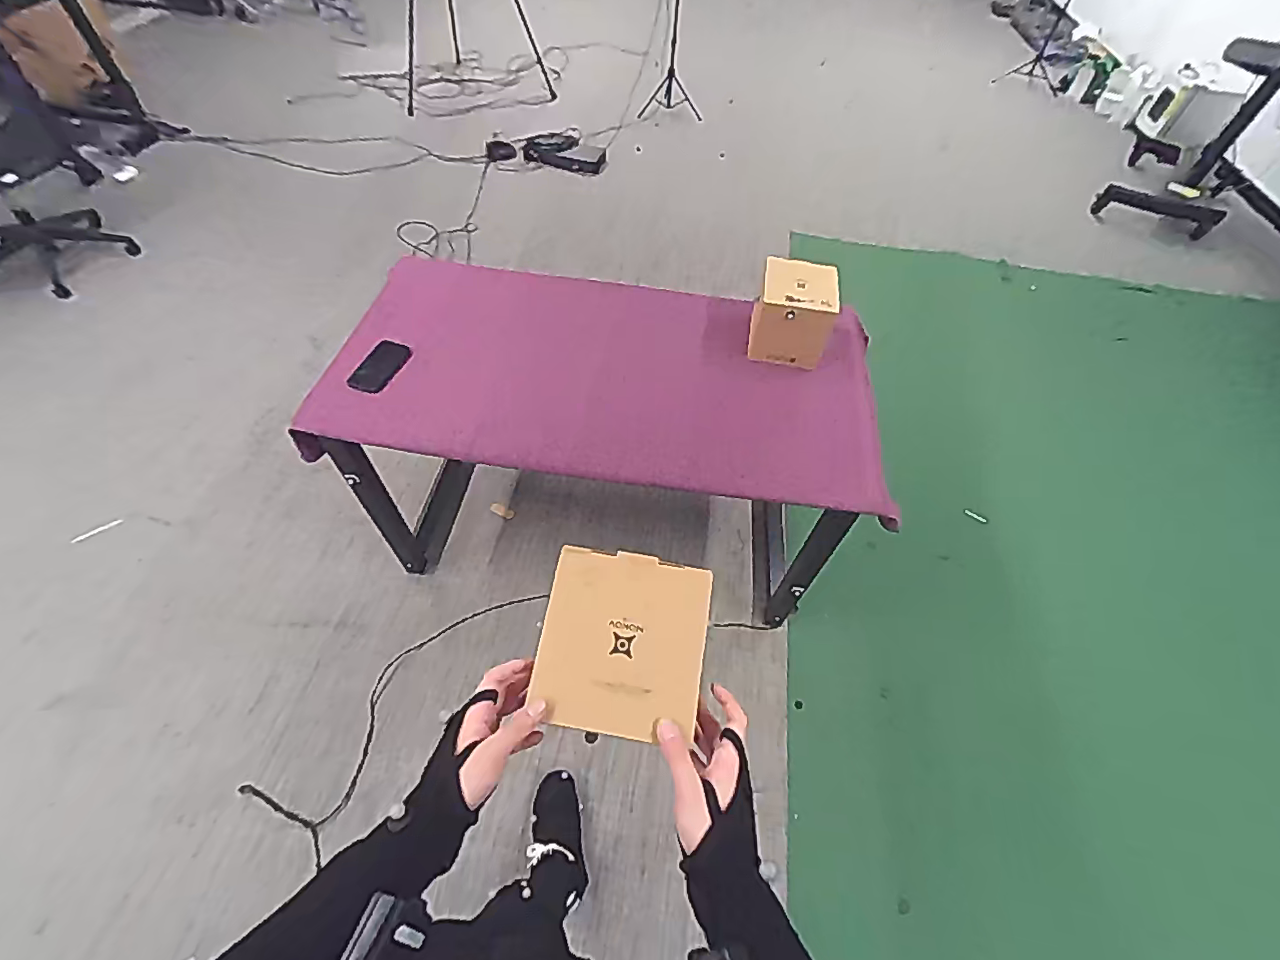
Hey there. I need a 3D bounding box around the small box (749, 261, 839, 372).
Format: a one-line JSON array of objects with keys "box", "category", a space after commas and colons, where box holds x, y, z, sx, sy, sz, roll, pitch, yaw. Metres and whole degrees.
[{"box": [0.356, -0.384, 1.272, 0.168, 0.176, 0.179, 10, 54, 4], "category": "small box"}]

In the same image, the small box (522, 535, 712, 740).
[{"box": [-0.022, 0.181, 0.614, 0.168, 0.176, 0.179, 10, 68, 2], "category": "small box"}]
